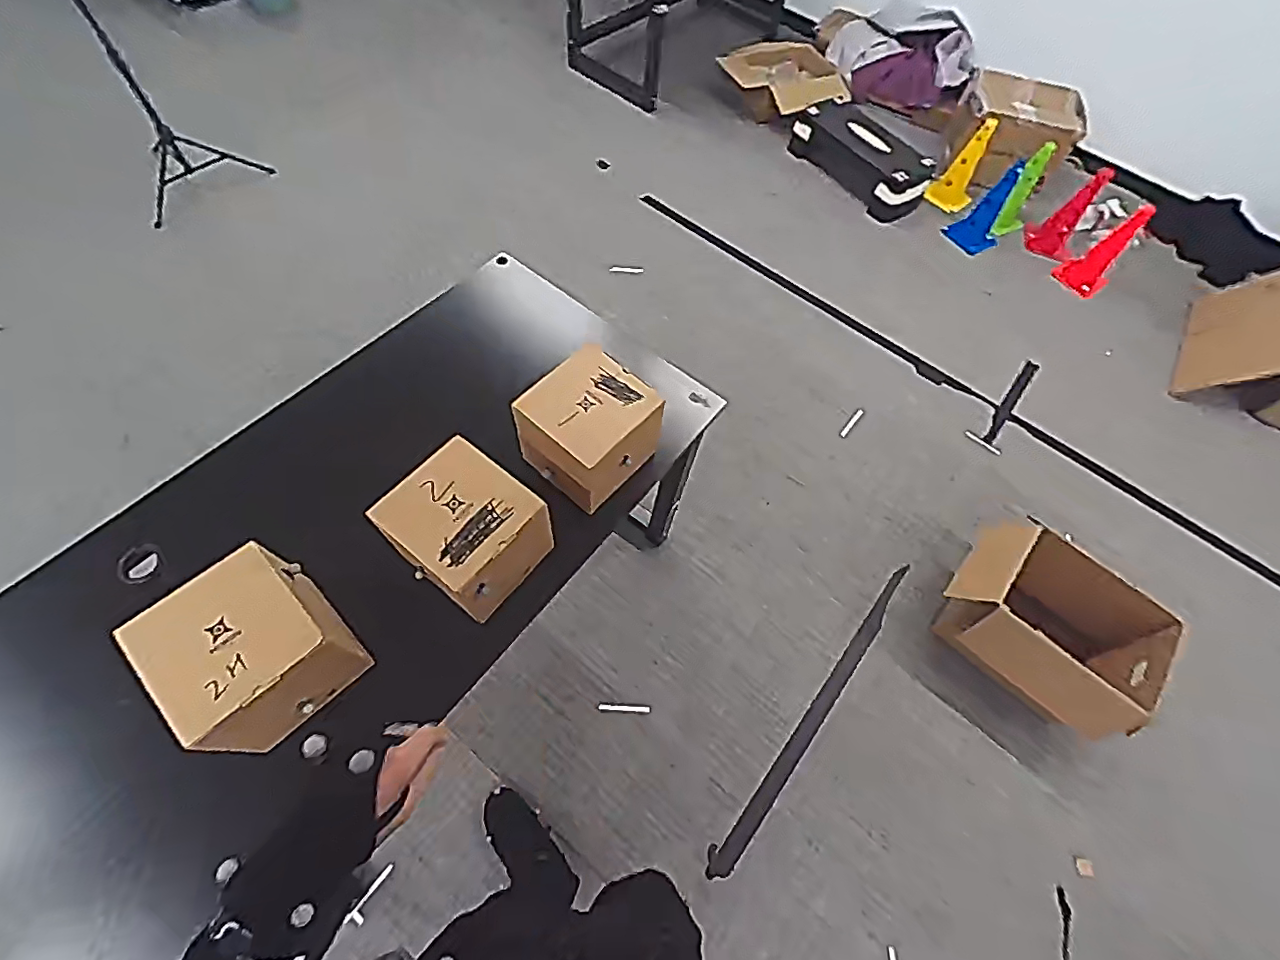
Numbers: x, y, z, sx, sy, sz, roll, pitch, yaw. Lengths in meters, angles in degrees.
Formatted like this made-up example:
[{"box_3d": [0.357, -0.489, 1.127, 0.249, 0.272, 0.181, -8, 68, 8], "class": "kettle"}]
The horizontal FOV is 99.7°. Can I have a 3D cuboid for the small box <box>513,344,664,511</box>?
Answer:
[{"box_3d": [-0.084, -0.082, 0.893, 0.168, 0.176, 0.179, 39, 67, 15], "class": "small box"}]

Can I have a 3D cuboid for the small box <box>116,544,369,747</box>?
[{"box_3d": [-0.490, 0.220, 0.695, 0.179, 0.176, 0.168, 42, 67, 16], "class": "small box"}]
